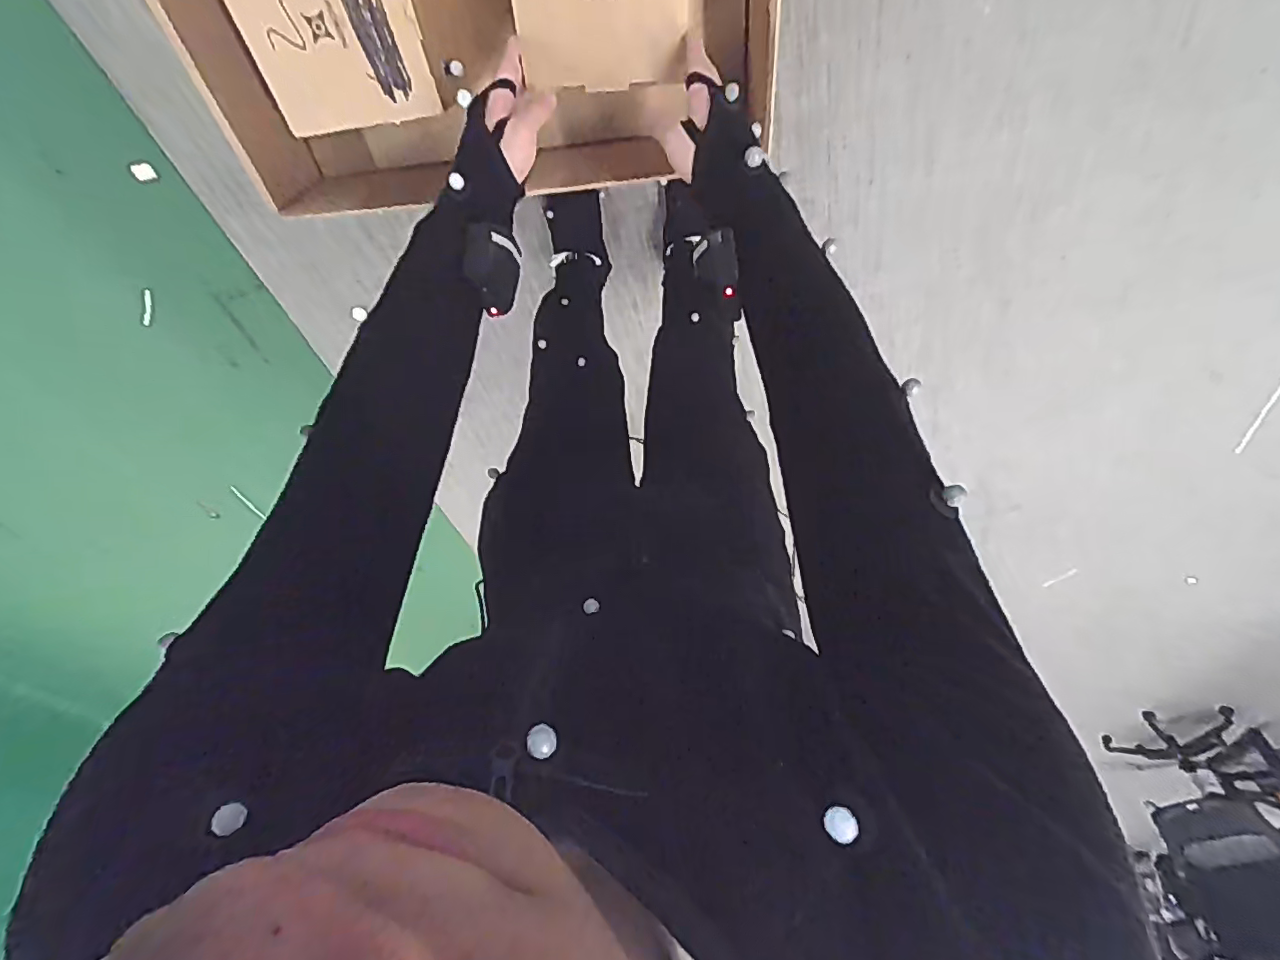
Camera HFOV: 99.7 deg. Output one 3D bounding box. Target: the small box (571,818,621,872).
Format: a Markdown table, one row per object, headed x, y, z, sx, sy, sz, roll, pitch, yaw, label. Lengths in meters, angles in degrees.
| x | y | z | sx | sy | sz | roll | pitch | yaw | label |
| --- | --- | --- | --- | --- | --- | --- | --- | --- | --- |
| -0.183 | 1.568 | 2.325 | 0.168 | 0.176 | 0.179 | -11 | 134 | 12 | small box |

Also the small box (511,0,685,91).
| x | y | z | sx | sy | sz | roll | pitch | yaw | label |
| --- | --- | --- | --- | --- | --- | --- | --- | --- | --- |
| -0.037 | -0.519 | 0.543 | 0.168 | 0.176 | 0.179 | -1 | 137 | 3 | small box |

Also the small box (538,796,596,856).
| x | y | z | sx | sy | sz | roll | pitch | yaw | label |
| --- | --- | --- | --- | --- | --- | --- | --- | --- | --- |
| -0.273 | 1.330 | 2.077 | 0.168 | 0.176 | 0.179 | -9 | 135 | 11 | small box |
